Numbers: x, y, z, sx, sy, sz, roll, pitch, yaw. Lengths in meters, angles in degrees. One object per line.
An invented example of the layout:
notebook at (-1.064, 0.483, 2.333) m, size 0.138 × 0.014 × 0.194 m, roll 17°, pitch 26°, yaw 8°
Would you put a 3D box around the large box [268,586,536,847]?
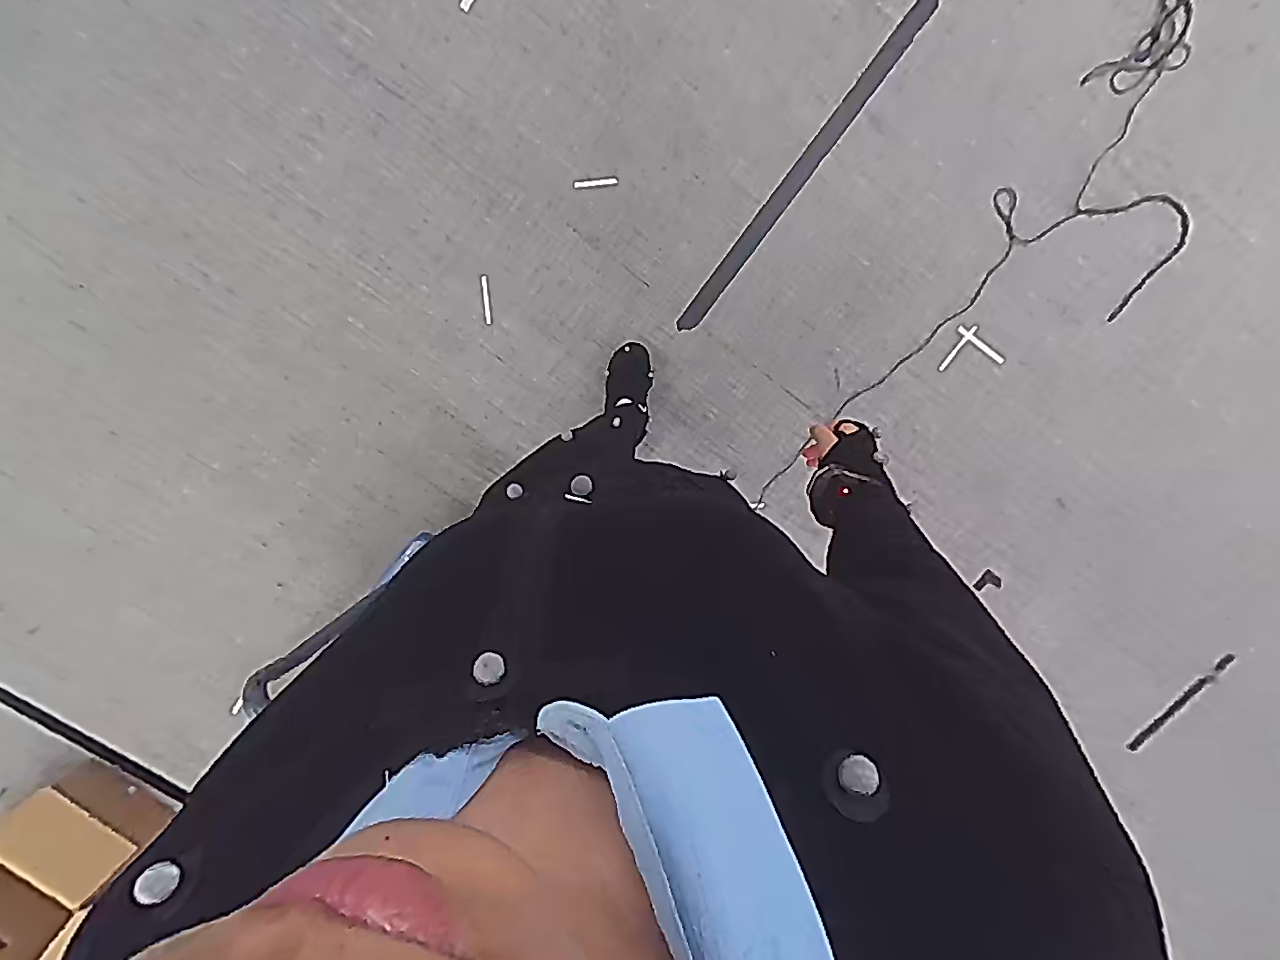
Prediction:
large box at (-0.509, 0.518, 1.244) m, size 0.408 × 0.320 × 0.320 m, roll 36°, pitch 97°, yaw -6°
